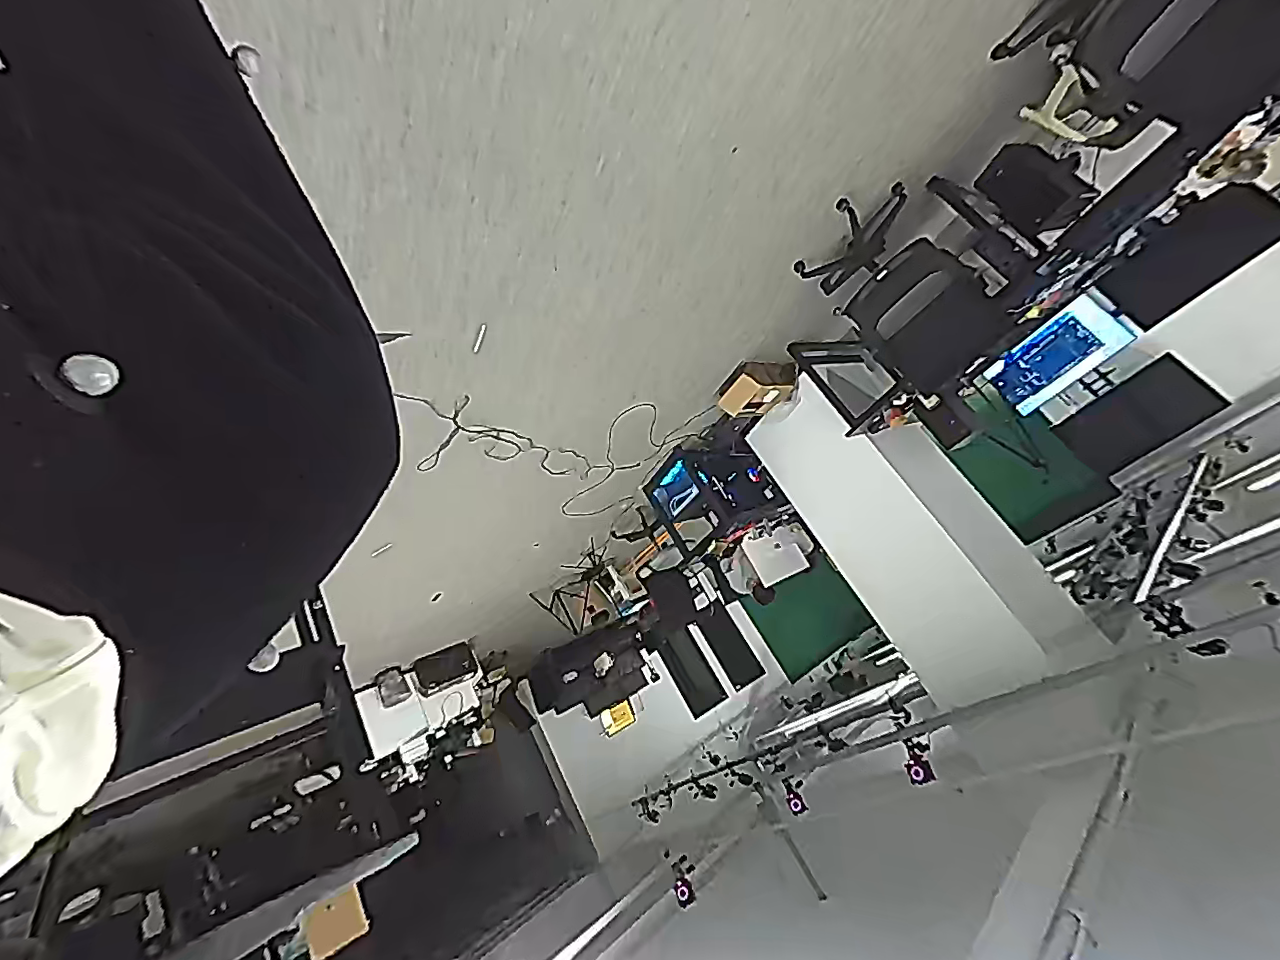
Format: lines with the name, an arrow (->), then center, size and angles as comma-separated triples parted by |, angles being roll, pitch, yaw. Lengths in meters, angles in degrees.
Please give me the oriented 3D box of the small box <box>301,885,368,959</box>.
small box -> -1.091, 1.586, 1.921 | 0.179, 0.176, 0.168 | -14, 152, -38
